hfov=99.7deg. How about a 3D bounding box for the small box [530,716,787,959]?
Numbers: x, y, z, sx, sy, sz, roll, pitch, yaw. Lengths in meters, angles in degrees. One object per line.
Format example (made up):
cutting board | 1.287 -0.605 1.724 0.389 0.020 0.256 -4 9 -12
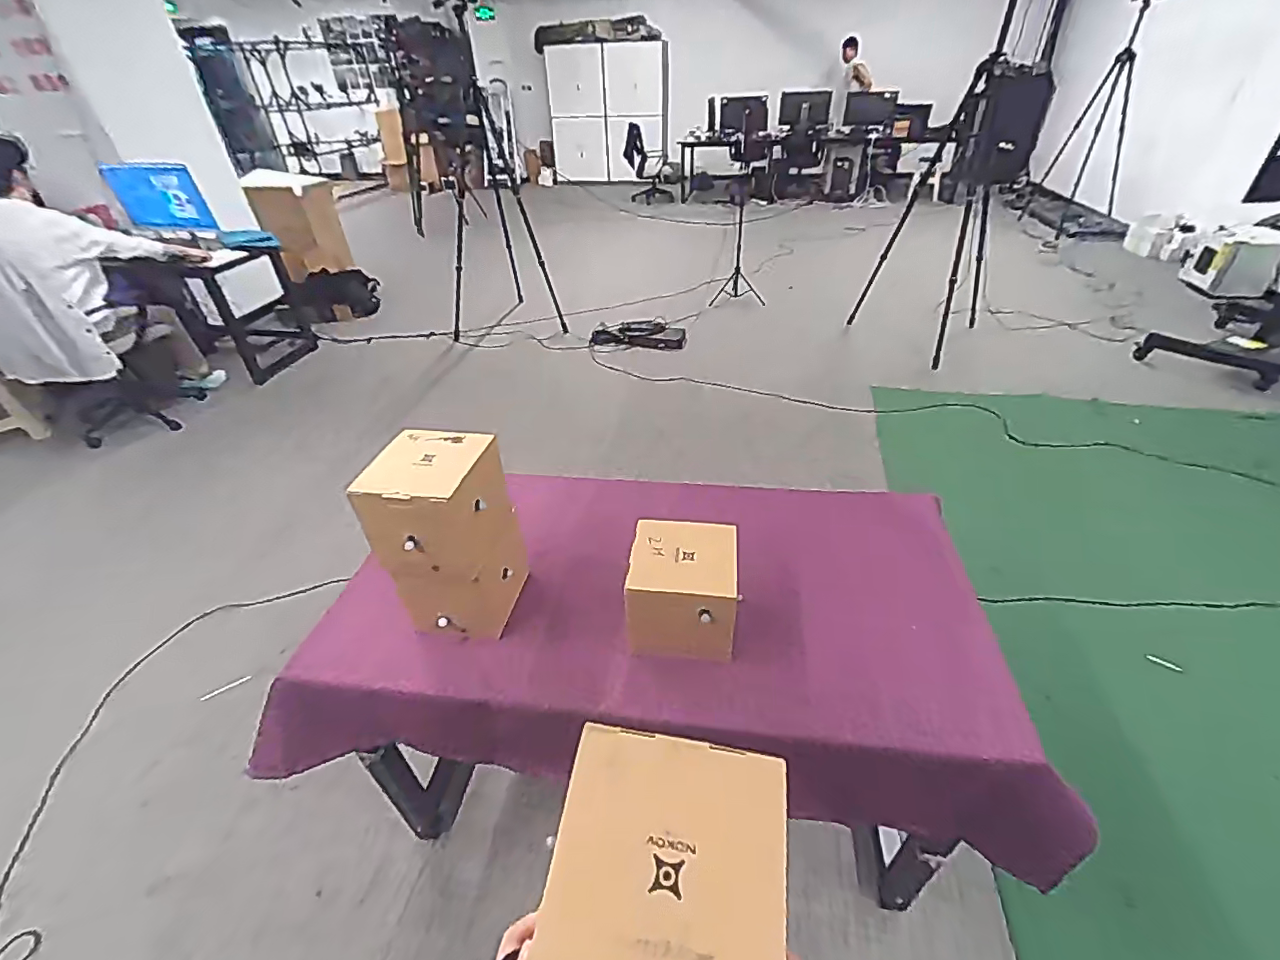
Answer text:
small box | 0.022 0.325 0.448 0.168 0.176 0.179 7 50 8

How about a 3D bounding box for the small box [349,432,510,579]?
small box | -0.328 0.041 0.890 0.168 0.176 0.179 5 38 9

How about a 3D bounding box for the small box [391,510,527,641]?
small box | -0.317 0.167 0.994 0.168 0.176 0.179 4 38 9

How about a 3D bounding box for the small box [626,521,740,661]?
small box | 0.077 0.192 0.935 0.179 0.176 0.168 3 37 8
